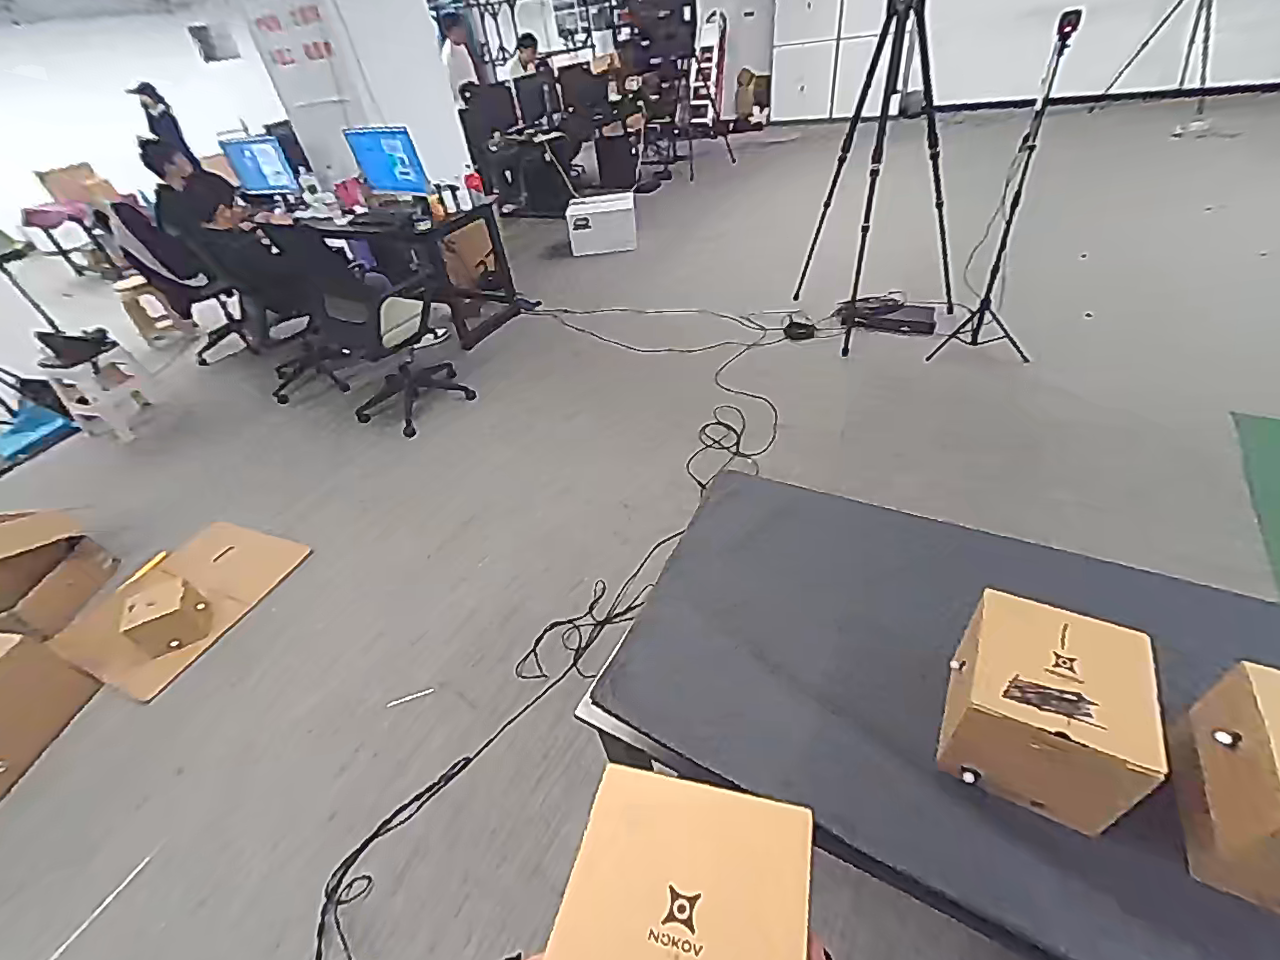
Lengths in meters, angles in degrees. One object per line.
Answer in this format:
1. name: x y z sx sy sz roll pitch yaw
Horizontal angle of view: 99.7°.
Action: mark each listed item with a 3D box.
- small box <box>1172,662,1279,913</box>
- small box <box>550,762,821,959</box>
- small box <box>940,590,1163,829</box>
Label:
1. small box: 0.687 0.326 0.542 0.168 0.176 0.179 14 45 26
2. small box: 0.041 0.354 0.407 0.168 0.176 0.179 4 39 17
3. small box: 0.475 0.272 0.648 0.168 0.176 0.179 16 45 27
